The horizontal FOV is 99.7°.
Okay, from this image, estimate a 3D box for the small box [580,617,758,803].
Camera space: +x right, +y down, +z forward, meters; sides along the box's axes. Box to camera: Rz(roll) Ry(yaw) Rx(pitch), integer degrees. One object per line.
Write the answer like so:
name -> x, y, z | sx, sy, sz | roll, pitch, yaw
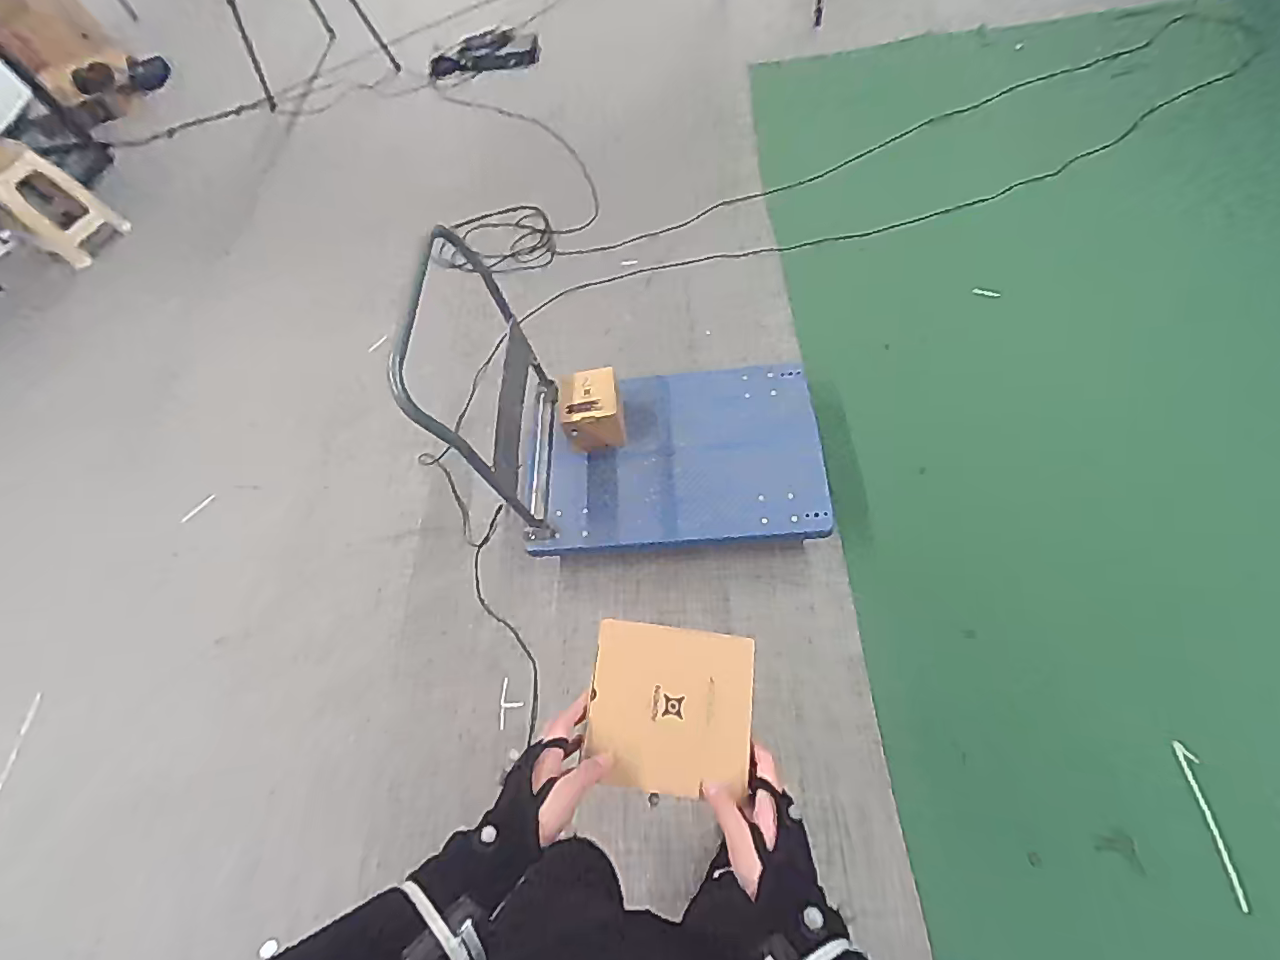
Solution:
small box -> 0.037, 0.273, 0.649 | 0.179, 0.176, 0.168 | 7, 66, 4
